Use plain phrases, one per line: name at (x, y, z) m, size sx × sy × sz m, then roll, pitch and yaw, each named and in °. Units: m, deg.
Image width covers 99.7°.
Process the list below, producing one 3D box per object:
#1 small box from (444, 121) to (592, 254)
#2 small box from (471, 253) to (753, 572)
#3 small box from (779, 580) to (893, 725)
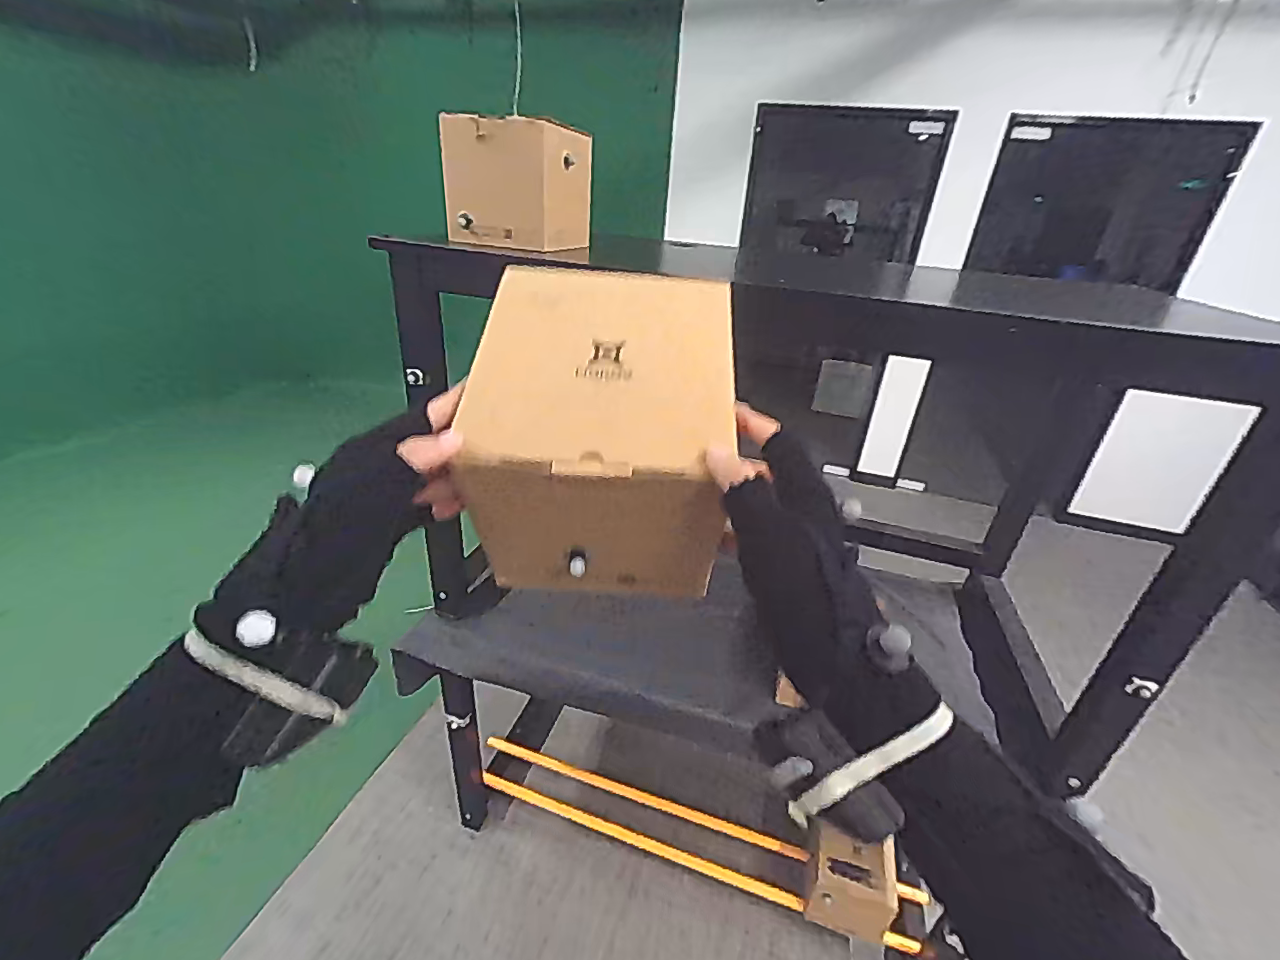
small box at (-0.183, -0.456, 0.860) m, size 0.168 × 0.176 × 0.179 m, roll 12°, pitch 27°, yaw 13°
small box at (-0.014, -0.048, 0.420) m, size 0.168 × 0.176 × 0.179 m, roll 3°, pitch 55°, yaw 1°
small box at (0.364, 0.322, 1.025) m, size 0.168 × 0.176 × 0.179 m, roll 11°, pitch 26°, yaw 14°
